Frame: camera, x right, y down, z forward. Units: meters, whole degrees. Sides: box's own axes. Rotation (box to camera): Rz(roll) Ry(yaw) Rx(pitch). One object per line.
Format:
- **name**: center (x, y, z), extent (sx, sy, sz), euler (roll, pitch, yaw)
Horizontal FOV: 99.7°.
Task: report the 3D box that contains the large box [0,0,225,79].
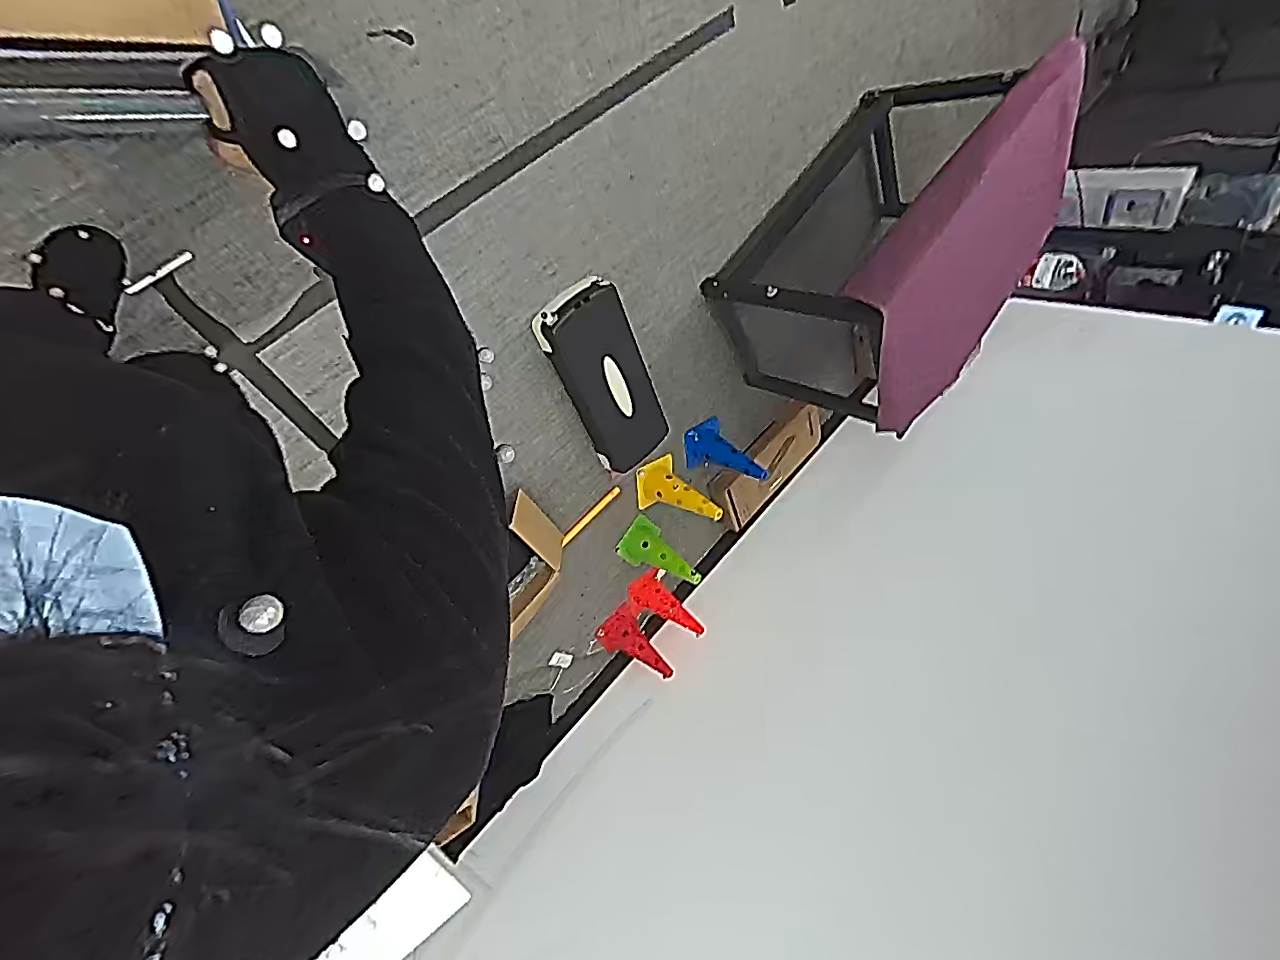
- **large box**: center (-0.780, -0.653, 0.599), extent (0.408, 0.320, 0.320), euler (-27, 130, -33)
